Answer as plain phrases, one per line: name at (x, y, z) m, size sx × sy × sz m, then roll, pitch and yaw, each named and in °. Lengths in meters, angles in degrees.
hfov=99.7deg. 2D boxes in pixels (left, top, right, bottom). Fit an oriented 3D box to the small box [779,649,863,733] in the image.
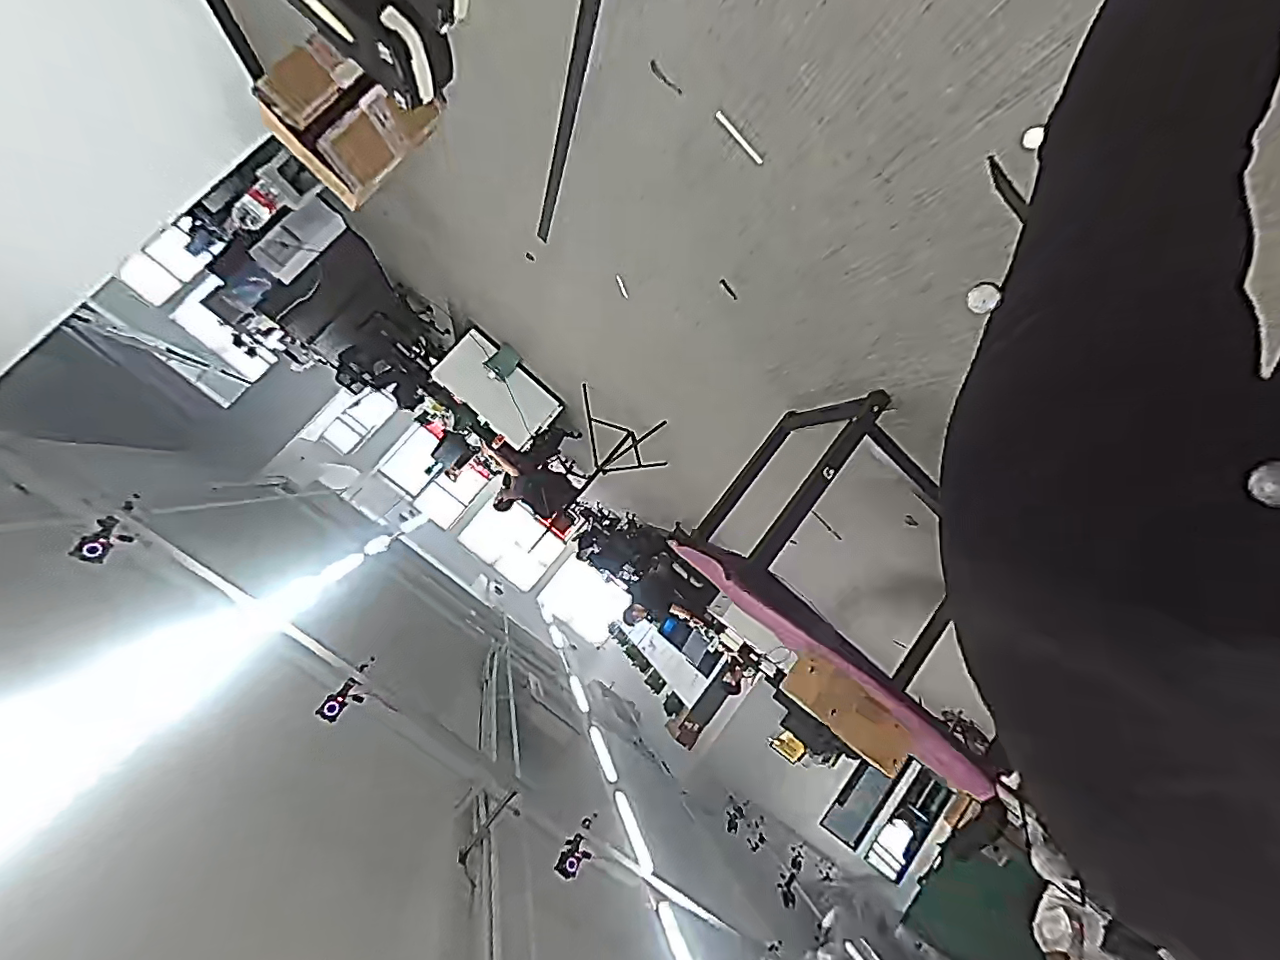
small box at (0.625, 0.719, 1.857) m, size 0.179 × 0.176 × 0.168 m, roll 43°, pitch 170°, yaw -19°
